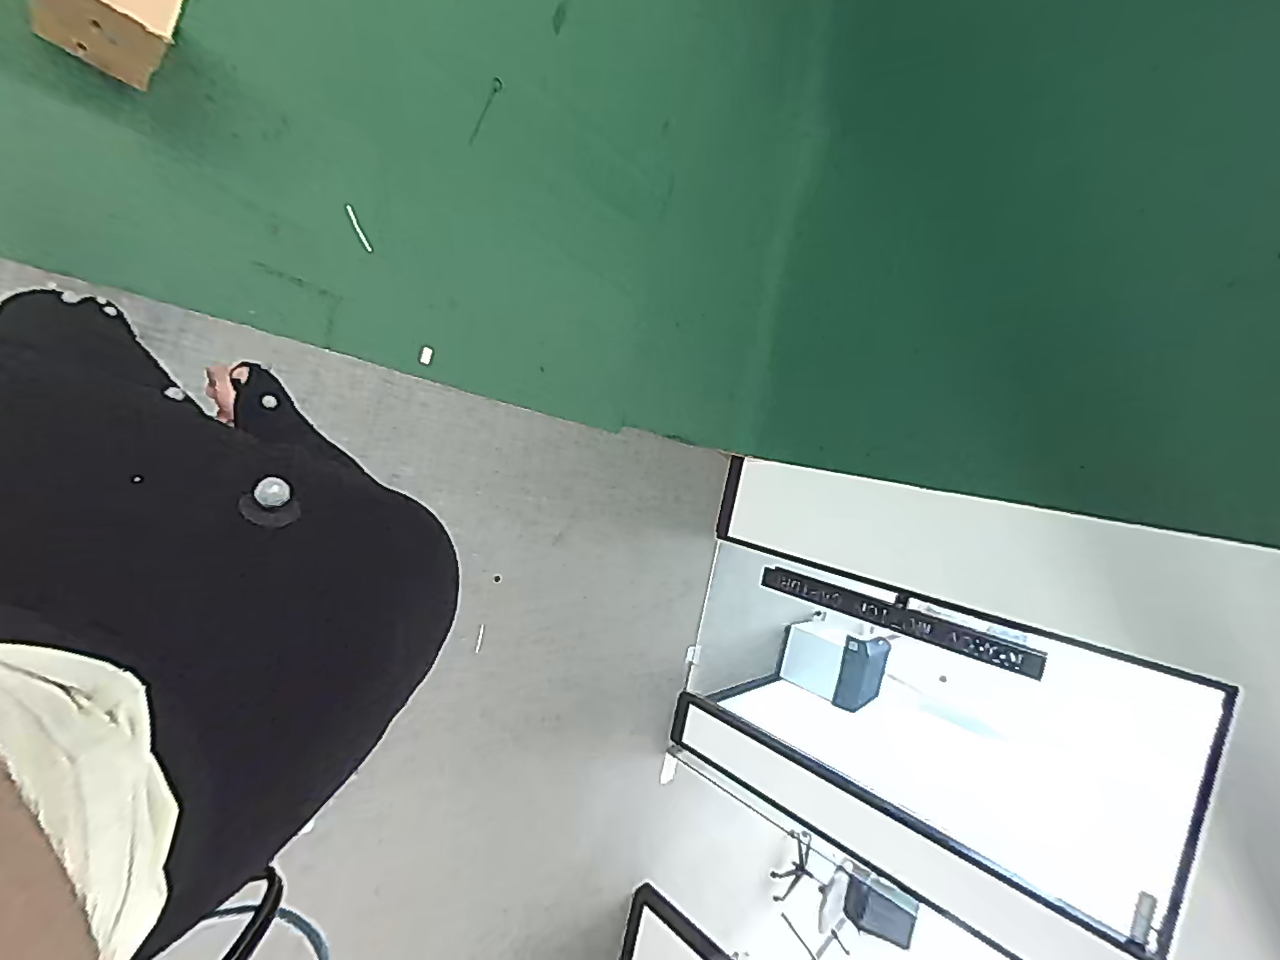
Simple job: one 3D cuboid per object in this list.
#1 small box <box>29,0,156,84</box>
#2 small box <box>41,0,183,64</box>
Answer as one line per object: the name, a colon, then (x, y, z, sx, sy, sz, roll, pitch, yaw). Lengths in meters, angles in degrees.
small box: (-1.011, -0.901, 1.018, 0.168, 0.176, 0.179, 15, 90, -50)
small box: (-0.889, -0.864, 0.913, 0.168, 0.176, 0.179, 18, 88, -49)
